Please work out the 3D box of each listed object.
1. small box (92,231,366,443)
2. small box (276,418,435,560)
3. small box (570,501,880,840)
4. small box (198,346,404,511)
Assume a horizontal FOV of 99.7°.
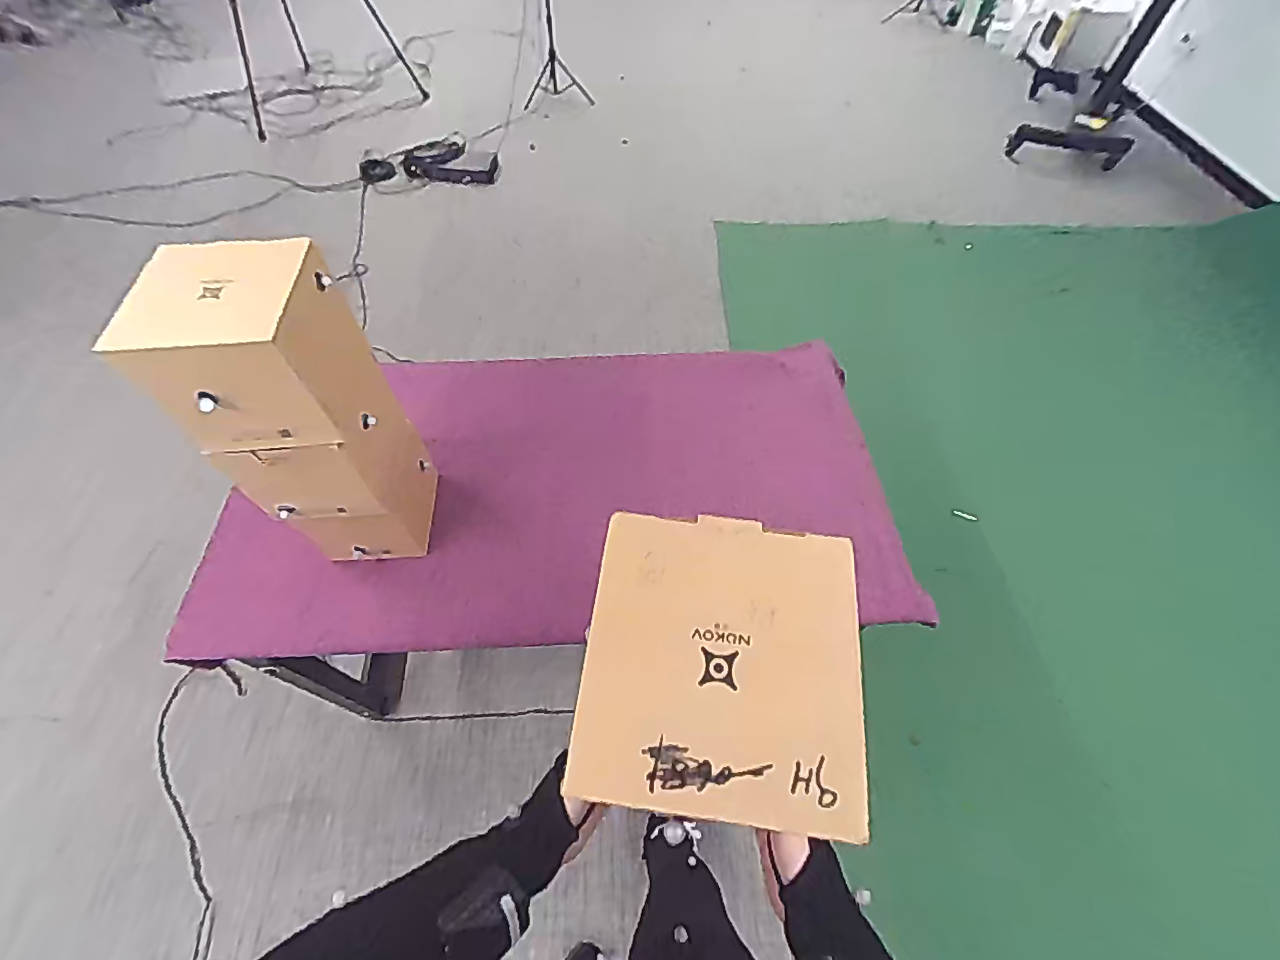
[{"bbox_3d":[-0.439,-0.155,0.619,0.168,0.176,0.179,-5,55,-4],"label":"small box"},{"bbox_3d":[-0.452,0.017,0.895,0.168,0.176,0.179,-2,57,-3],"label":"small box"},{"bbox_3d":[0.056,0.138,0.391,0.168,0.176,0.179,6,61,6],"label":"small box"},{"bbox_3d":[-0.448,-0.066,0.754,0.168,0.176,0.179,-2,55,-3],"label":"small box"}]
